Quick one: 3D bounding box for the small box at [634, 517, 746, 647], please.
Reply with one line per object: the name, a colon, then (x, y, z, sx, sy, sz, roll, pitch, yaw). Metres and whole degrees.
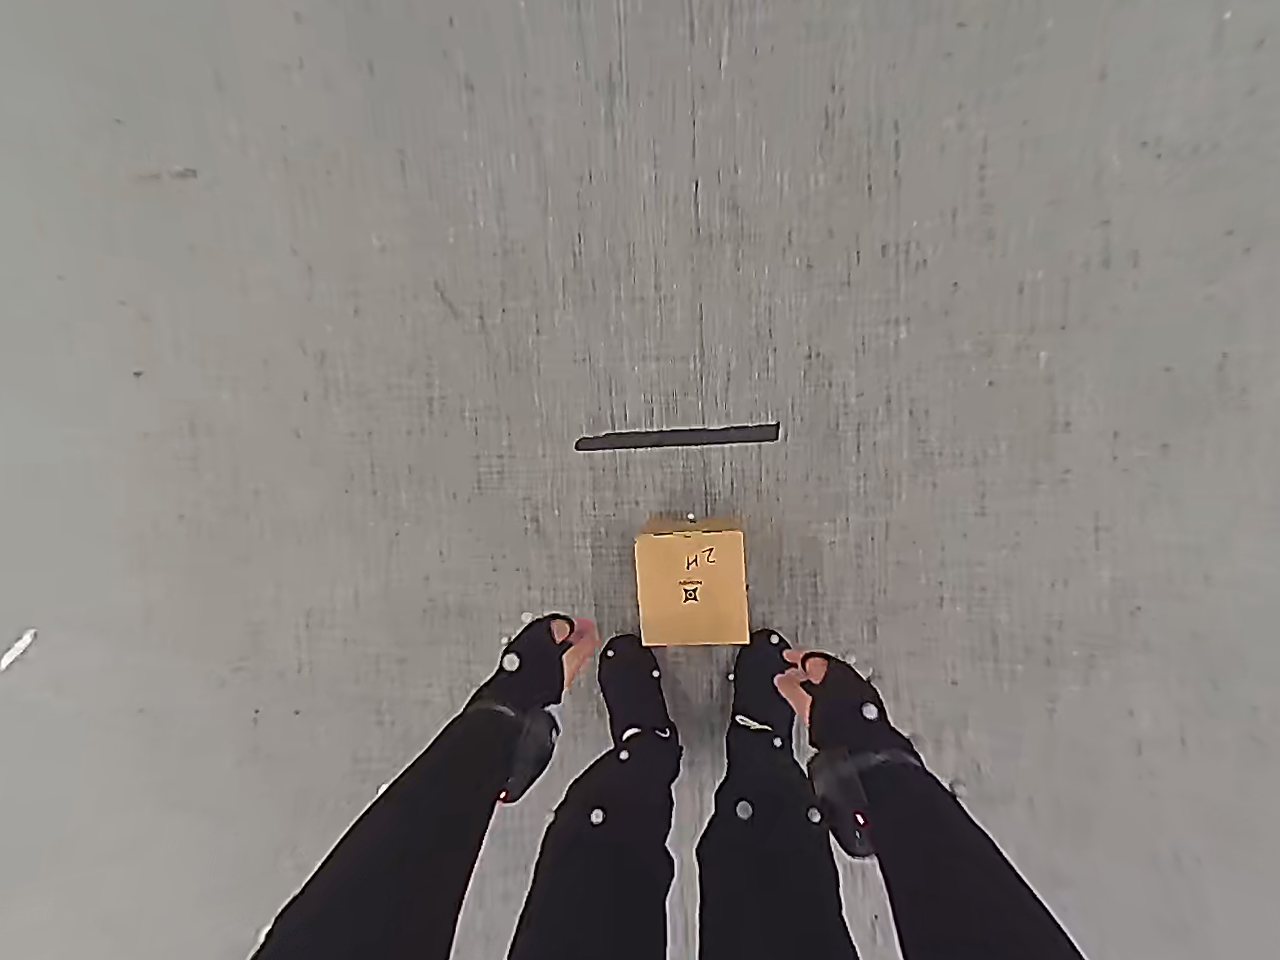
small box: (0.086, 0.161, 0.892, 0.168, 0.176, 0.179, -4, 92, 8)
